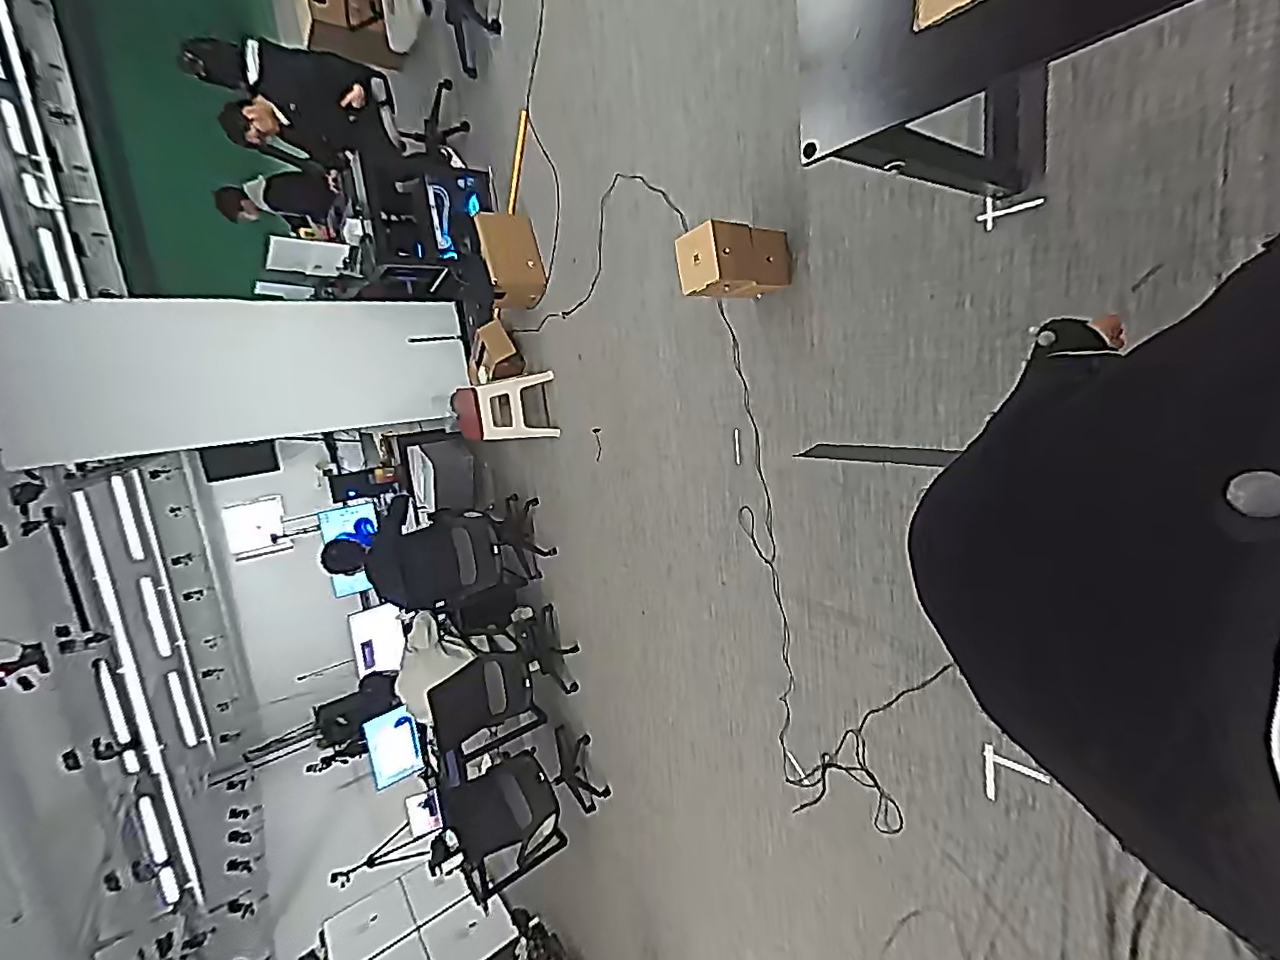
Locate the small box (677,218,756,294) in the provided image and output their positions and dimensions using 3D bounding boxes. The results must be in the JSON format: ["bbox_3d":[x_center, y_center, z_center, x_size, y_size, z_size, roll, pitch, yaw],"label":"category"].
[{"bbox_3d":[0.240,-0.688,1.674,0.168,0.176,0.179,-2,99,53],"label":"small box"}]

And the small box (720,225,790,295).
[{"bbox_3d":[0.370,-0.713,1.769,0.168,0.176,0.179,2,104,54],"label":"small box"}]
